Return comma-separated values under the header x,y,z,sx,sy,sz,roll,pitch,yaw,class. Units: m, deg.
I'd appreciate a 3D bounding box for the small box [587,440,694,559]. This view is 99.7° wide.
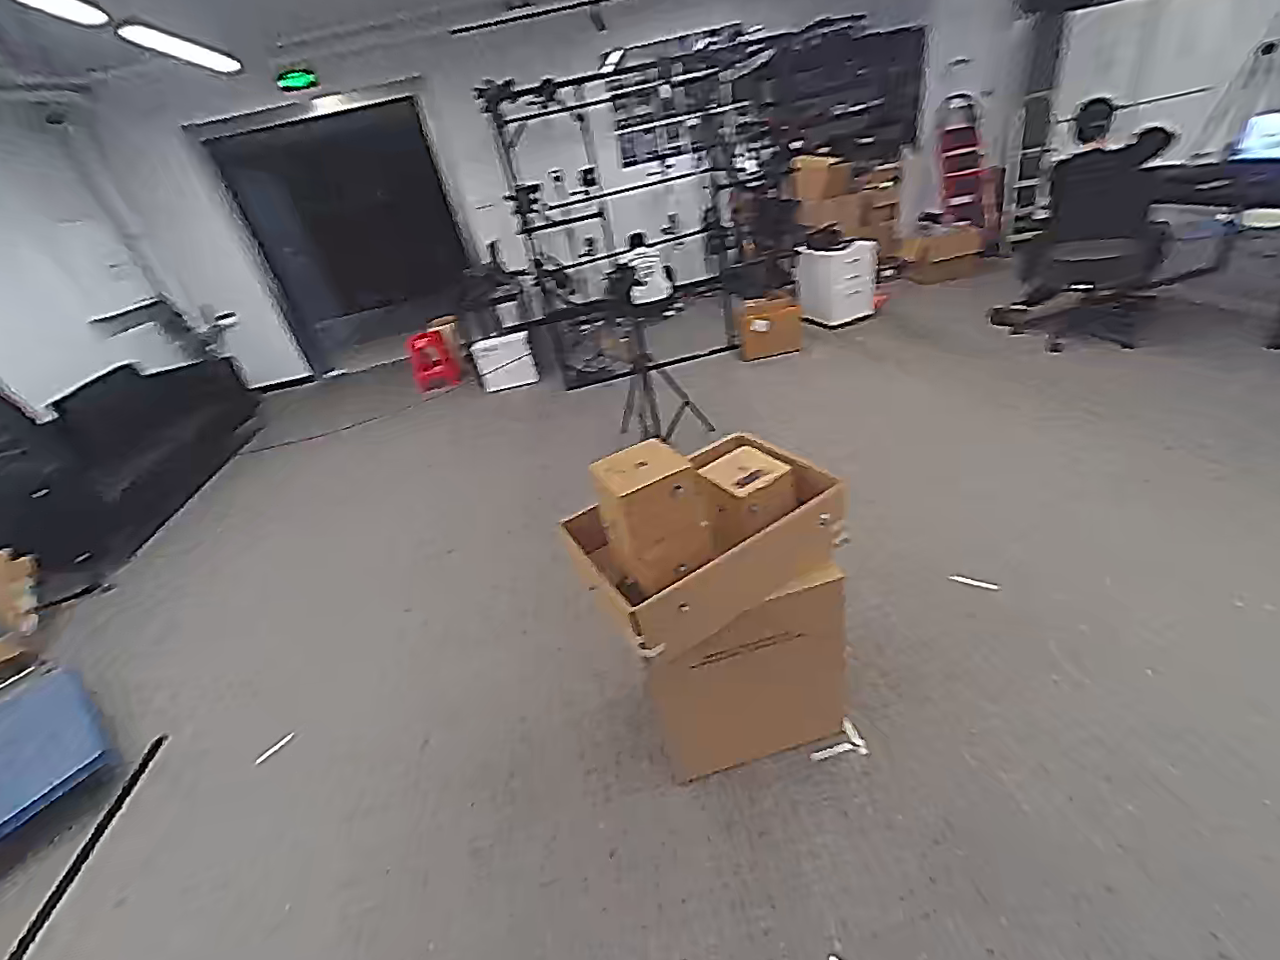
x,y,z,sx,sy,sz,roll,pitch,yaw,class
0.007,0.041,1.198,0.179,0.176,0.168,-24,34,-17,small box
